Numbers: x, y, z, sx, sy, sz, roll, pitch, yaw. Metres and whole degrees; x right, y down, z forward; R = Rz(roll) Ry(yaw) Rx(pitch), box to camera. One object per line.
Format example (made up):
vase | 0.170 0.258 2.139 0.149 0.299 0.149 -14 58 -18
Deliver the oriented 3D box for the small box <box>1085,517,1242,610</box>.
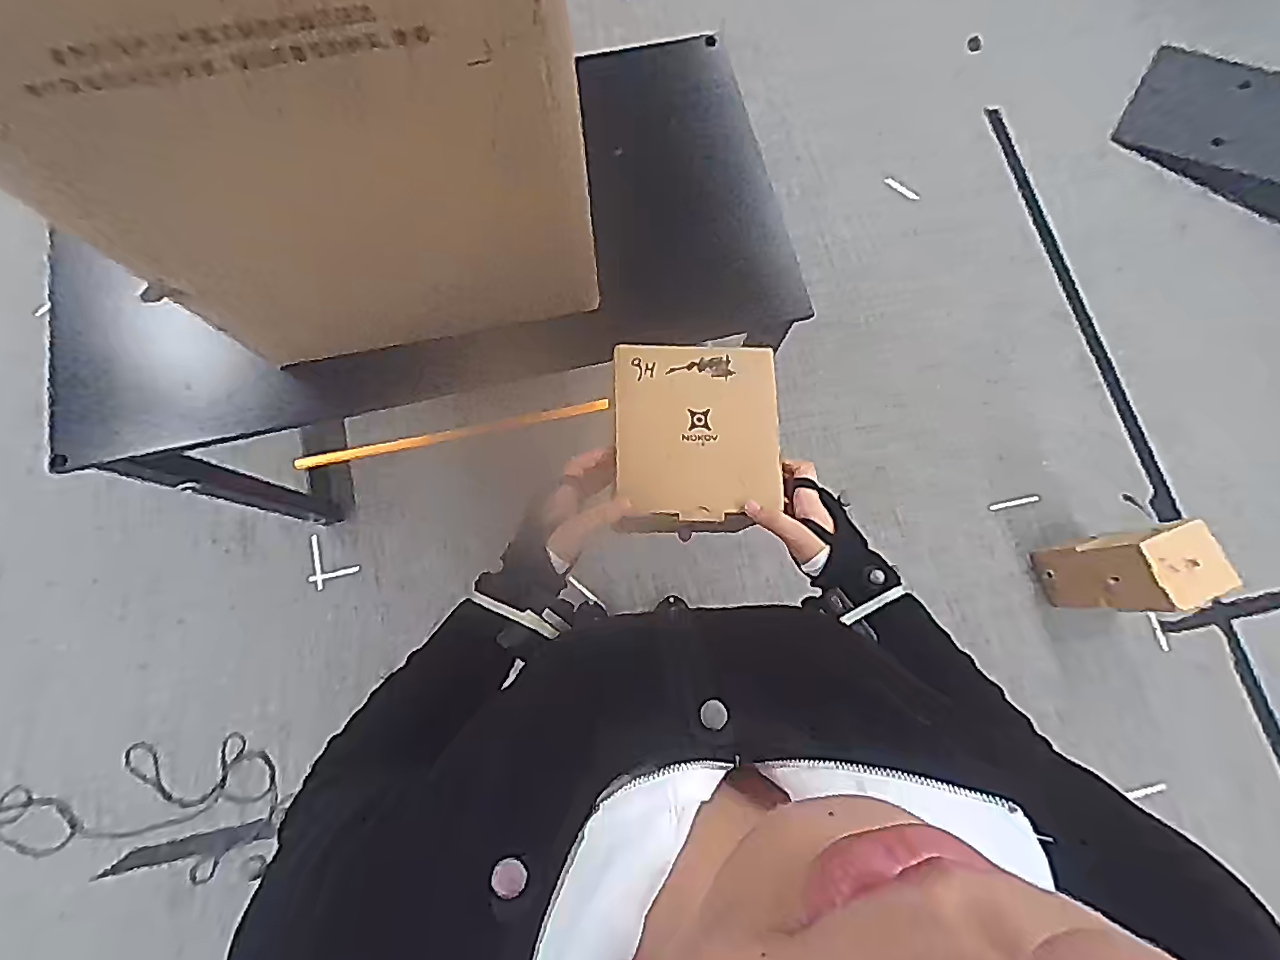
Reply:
small box | 1.240 0.203 1.296 0.179 0.176 0.168 -20 77 -5

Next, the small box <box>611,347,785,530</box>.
small box | 0.054 -0.035 0.611 0.168 0.176 0.179 0 80 -5

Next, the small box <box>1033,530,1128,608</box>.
small box | 1.224 0.240 1.457 0.179 0.176 0.168 -16 77 -3
